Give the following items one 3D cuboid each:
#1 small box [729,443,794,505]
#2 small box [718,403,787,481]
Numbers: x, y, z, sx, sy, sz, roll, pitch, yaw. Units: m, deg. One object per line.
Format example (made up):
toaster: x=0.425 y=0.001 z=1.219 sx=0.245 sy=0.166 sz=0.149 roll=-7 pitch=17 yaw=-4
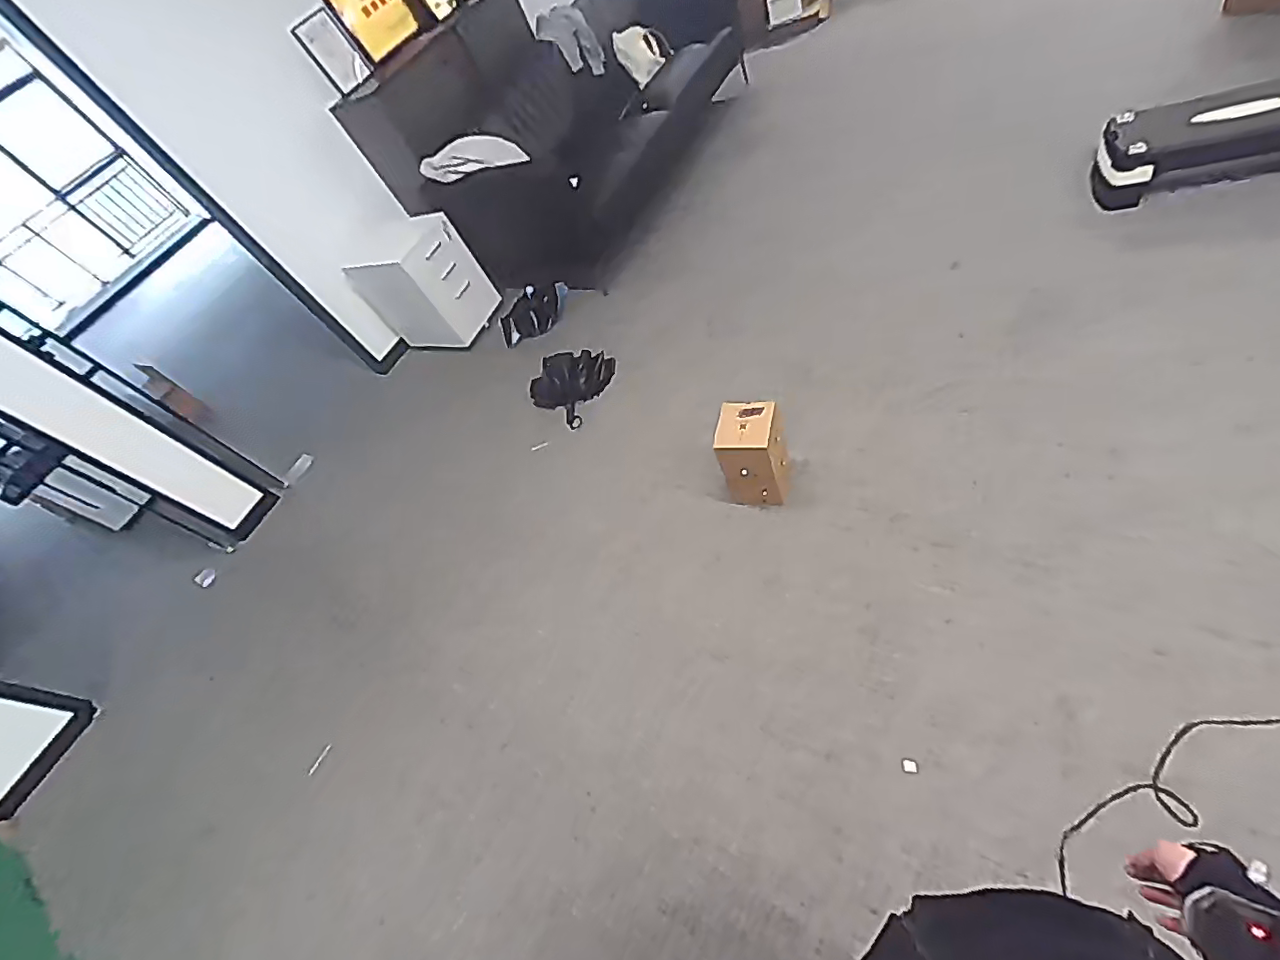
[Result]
small box: x=0.409 y=-0.031 z=1.790 sx=0.168 sy=0.176 sz=0.179 roll=1 pitch=55 yaw=26
small box: x=0.352 y=-0.118 z=1.663 sx=0.168 sy=0.176 sz=0.179 roll=2 pitch=59 yaw=27
